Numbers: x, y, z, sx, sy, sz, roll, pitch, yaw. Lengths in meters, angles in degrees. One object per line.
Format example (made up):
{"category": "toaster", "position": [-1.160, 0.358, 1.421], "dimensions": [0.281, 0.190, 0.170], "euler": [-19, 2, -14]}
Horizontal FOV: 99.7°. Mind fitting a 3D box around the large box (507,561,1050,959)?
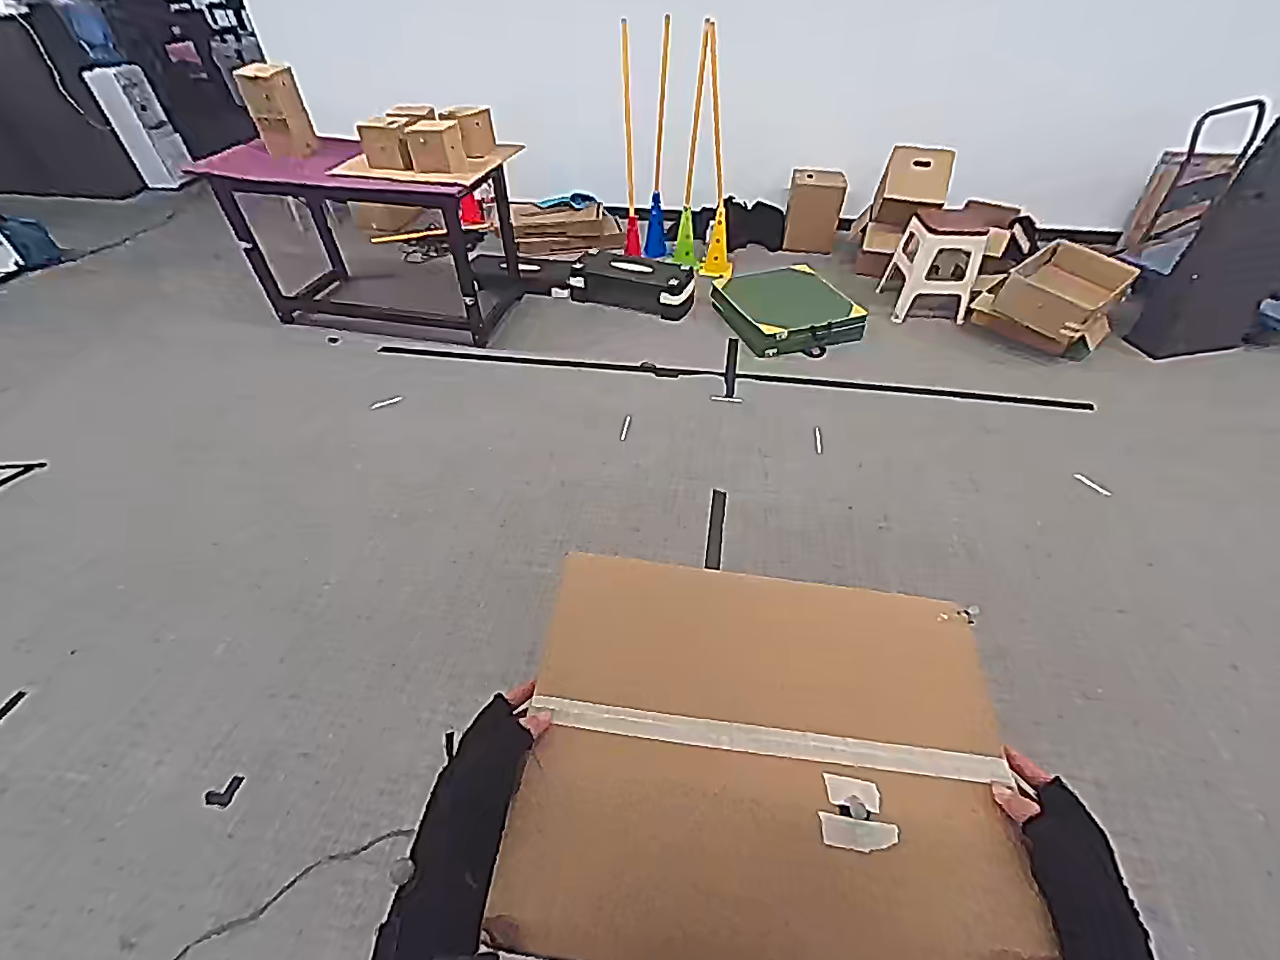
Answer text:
{"category": "large box", "position": [0.104, 0.317, 0.591], "dimensions": [0.408, 0.320, 0.320], "euler": [7, 53, 1]}
